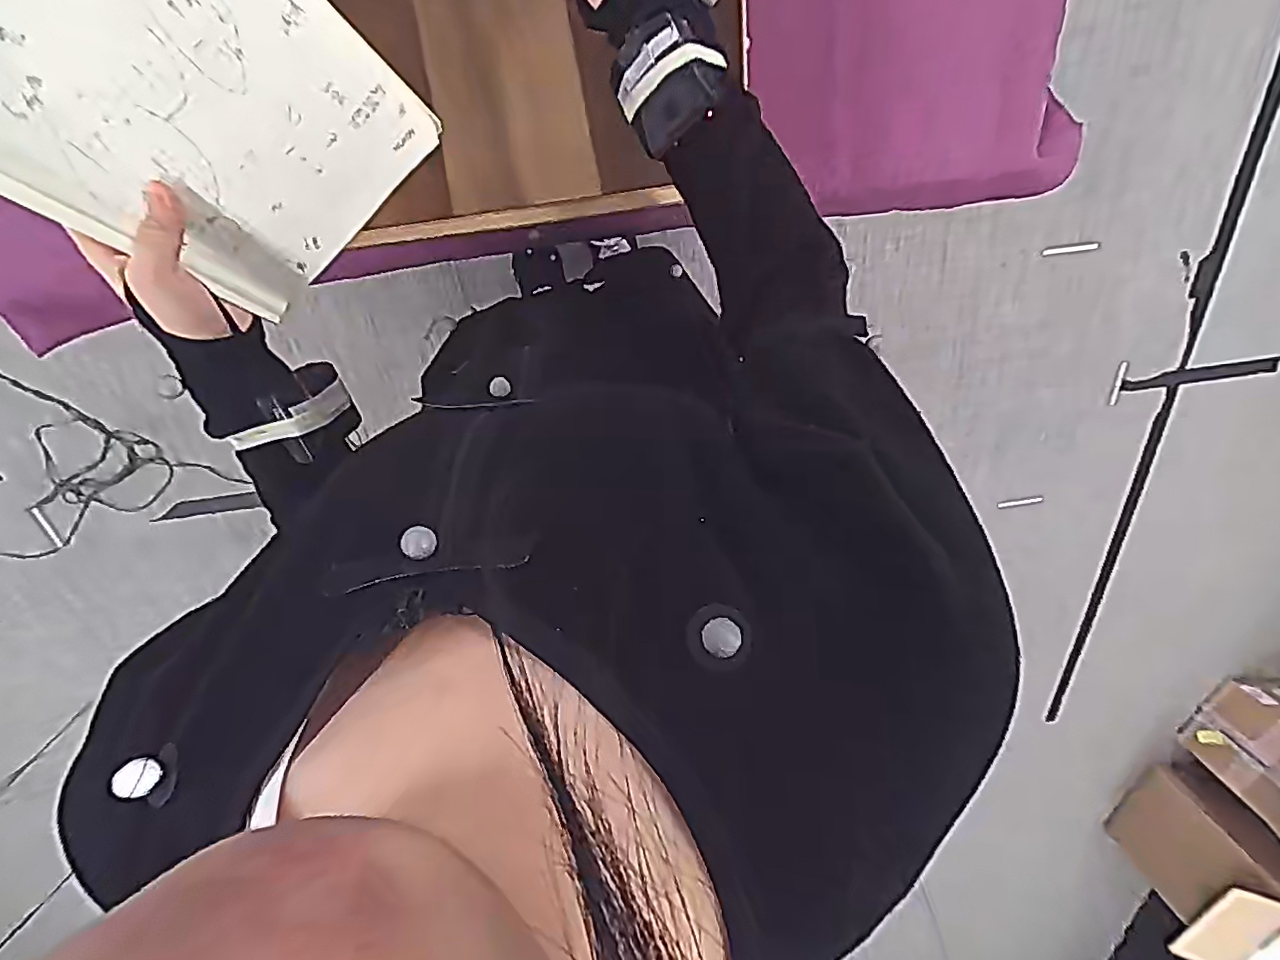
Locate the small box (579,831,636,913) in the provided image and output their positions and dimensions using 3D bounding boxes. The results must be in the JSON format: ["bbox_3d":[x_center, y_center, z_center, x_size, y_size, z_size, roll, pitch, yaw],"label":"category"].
[{"bbox_3d":[-0.116,1.351,1.877,0.168,0.176,0.179,-11,119,-1],"label":"small box"}]
